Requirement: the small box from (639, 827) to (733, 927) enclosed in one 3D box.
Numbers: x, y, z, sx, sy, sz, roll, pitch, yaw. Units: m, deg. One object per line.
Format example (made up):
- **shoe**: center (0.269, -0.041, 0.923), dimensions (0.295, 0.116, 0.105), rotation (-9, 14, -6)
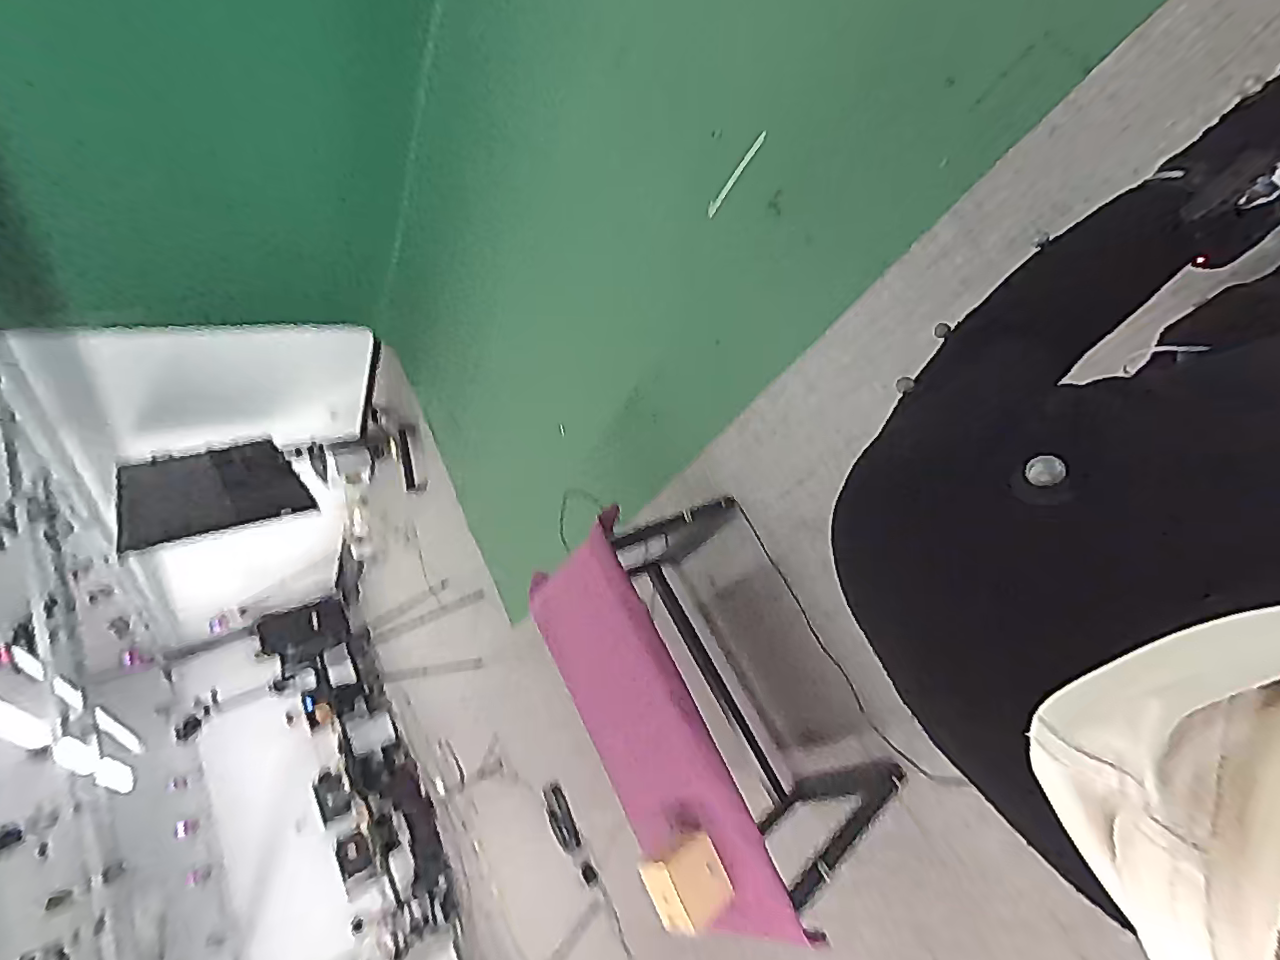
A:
- **small box**: center (0.135, 1.140, 1.571), dimensions (0.168, 0.176, 0.179), rotation (-45, 67, 47)
